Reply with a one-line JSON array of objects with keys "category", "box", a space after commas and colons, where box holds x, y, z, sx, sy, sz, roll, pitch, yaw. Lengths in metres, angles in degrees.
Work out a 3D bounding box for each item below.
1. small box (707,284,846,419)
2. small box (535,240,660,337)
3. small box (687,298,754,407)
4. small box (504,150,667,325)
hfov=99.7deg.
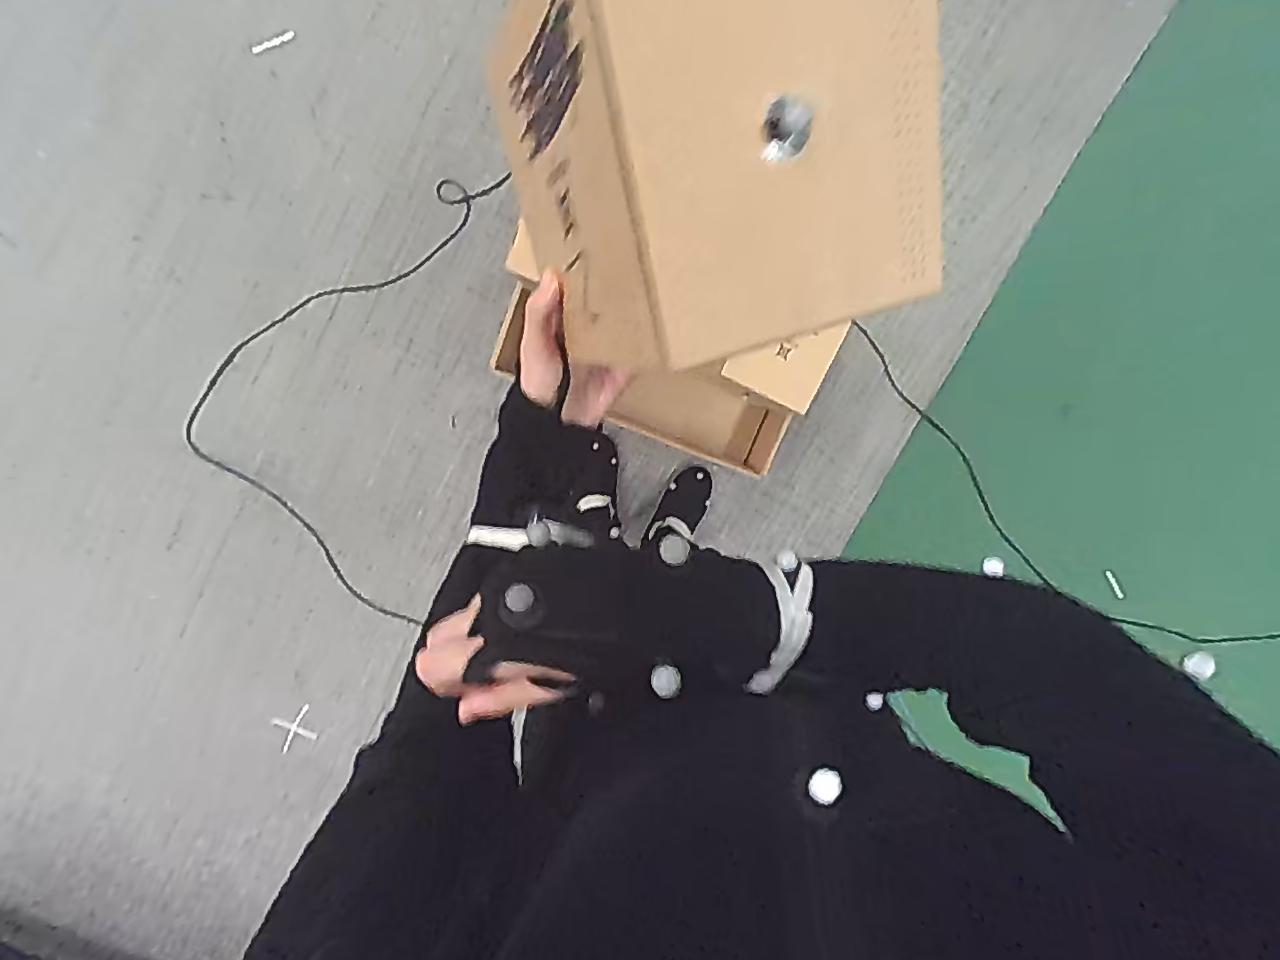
[{"category": "small box", "box": [0.236, -0.227, 0.990, 0.168, 0.176, 0.179, 25, 96, -7]}, {"category": "small box", "box": [-0.083, -0.365, 0.955, 0.179, 0.176, 0.168, 26, 98, -7]}, {"category": "small box", "box": [0.215, -0.260, 1.151, 0.179, 0.176, 0.168, 26, 97, -6]}, {"category": "small box", "box": [-0.075, -0.338, 0.795, 0.179, 0.176, 0.168, 21, 99, -5]}]
